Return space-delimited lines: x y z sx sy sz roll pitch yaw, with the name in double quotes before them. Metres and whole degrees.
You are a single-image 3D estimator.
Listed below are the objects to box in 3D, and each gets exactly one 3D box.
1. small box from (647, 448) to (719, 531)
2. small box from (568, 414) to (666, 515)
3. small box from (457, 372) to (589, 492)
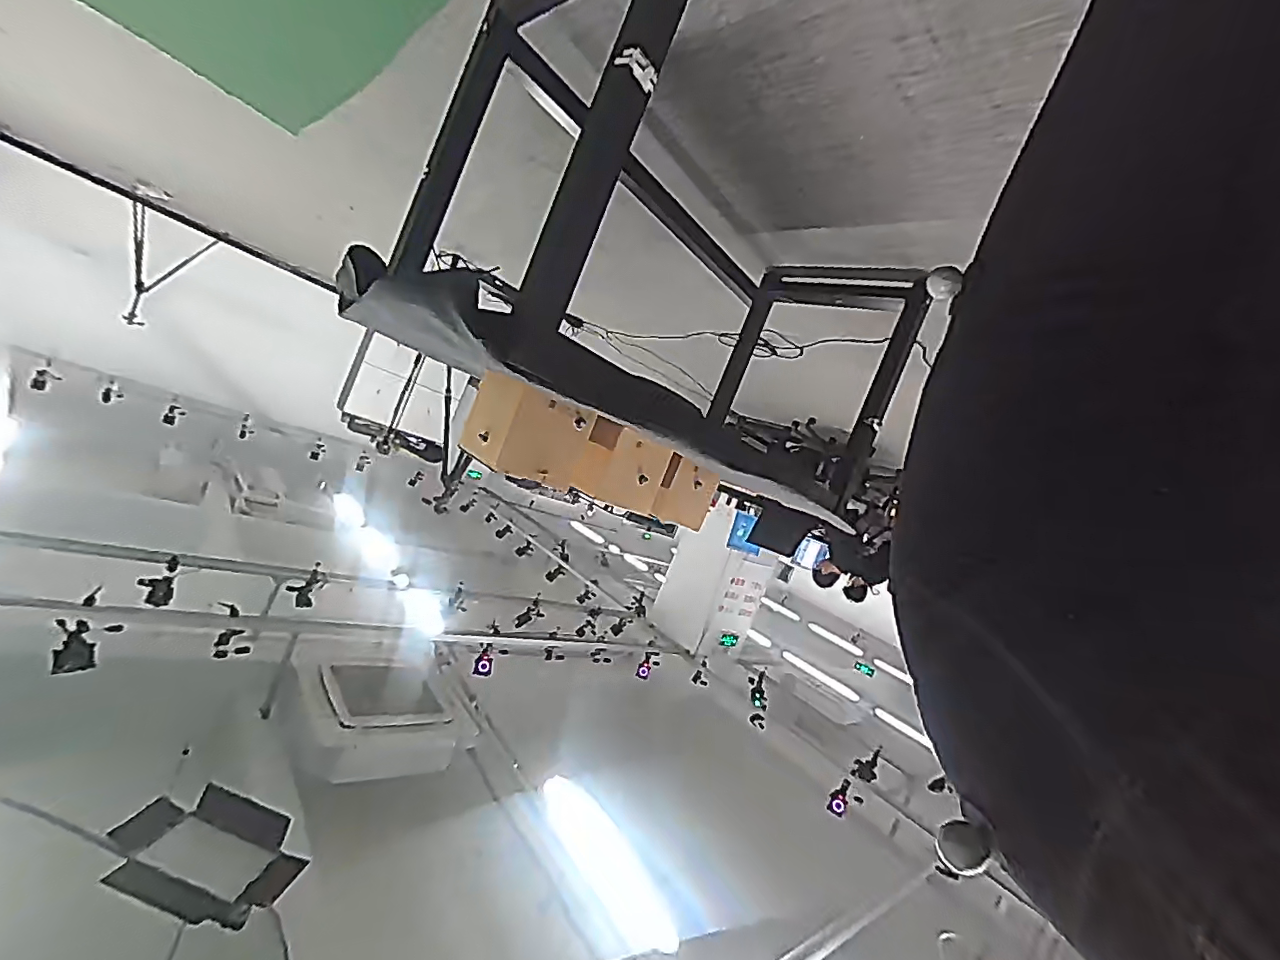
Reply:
"small box" 0.071 0.011 1.386 0.168 0.176 0.179 20 -177 -43
"small box" -0.061 -0.040 1.211 0.168 0.176 0.179 20 -177 -43
"small box" -0.220 -0.095 1.039 0.168 0.176 0.179 20 -177 -43
